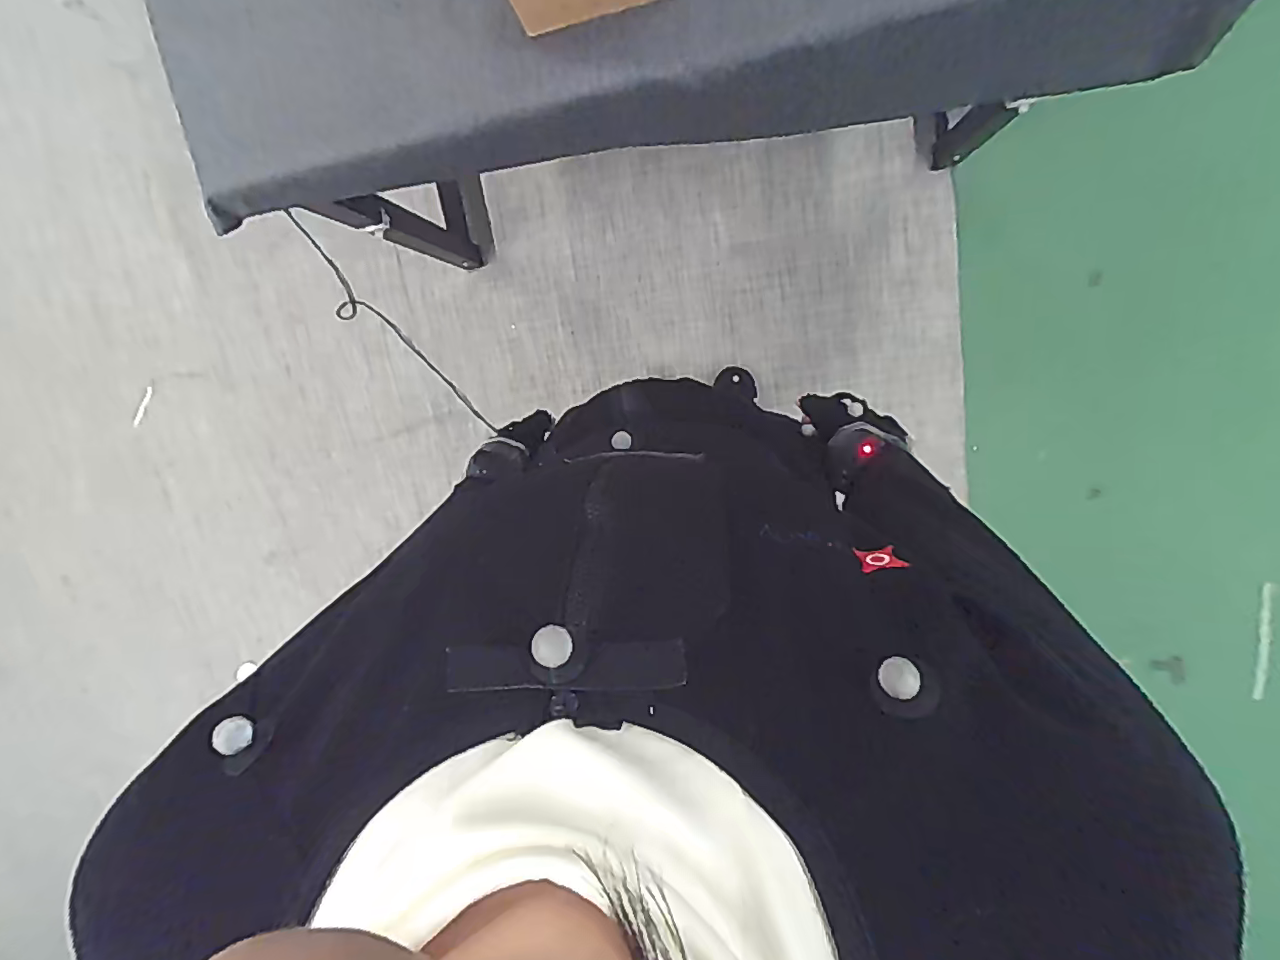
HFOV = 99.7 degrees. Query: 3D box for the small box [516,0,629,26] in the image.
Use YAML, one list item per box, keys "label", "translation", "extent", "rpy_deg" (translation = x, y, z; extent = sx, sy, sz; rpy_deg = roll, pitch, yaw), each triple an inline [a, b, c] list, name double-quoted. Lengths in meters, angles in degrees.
- label: "small box"
  translation: [-0.062, -0.575, 0.496]
  extent: [0.179, 0.176, 0.168]
  rpy_deg: [-9, 100, 10]
